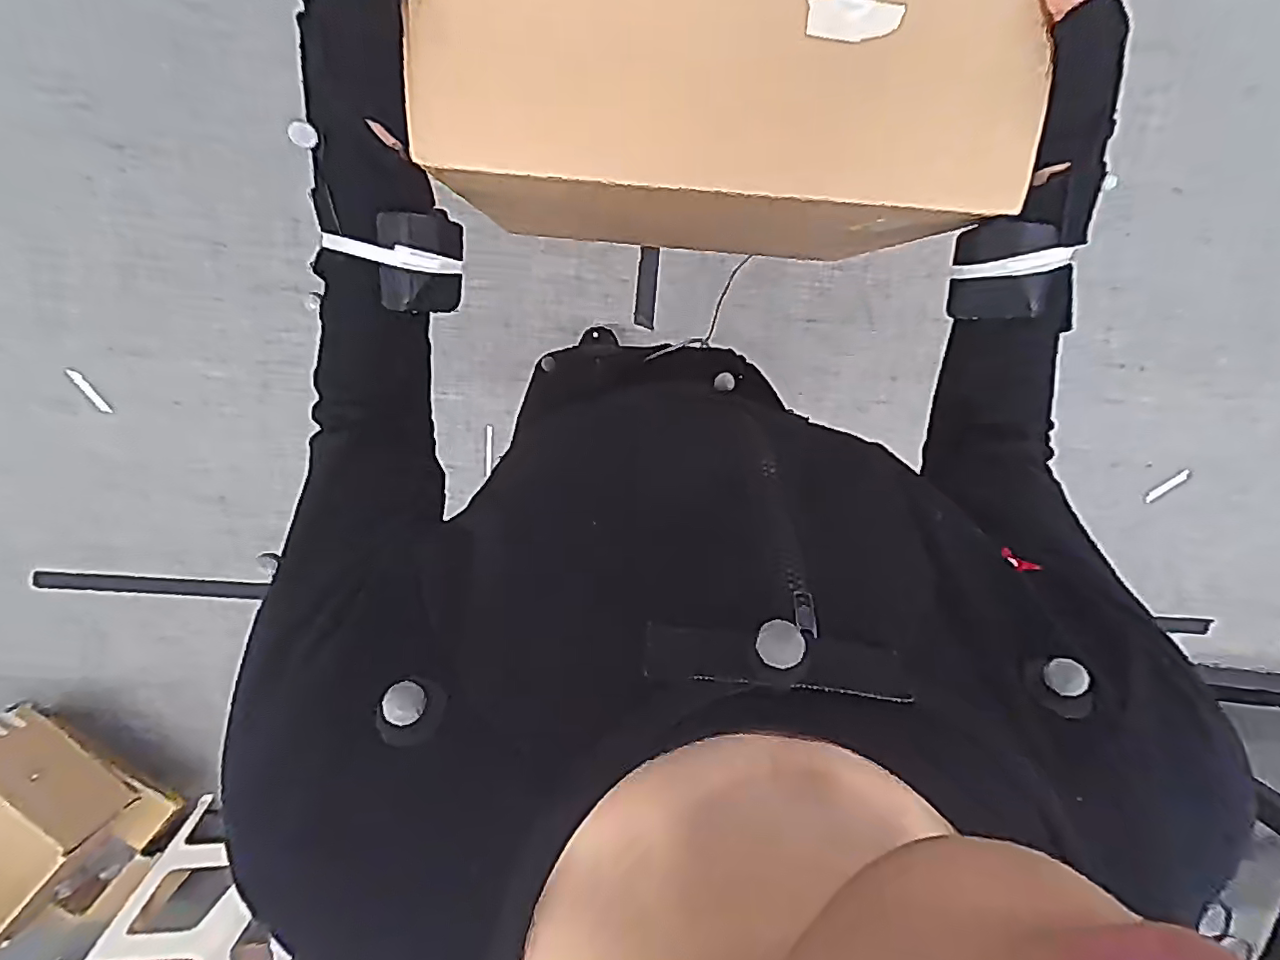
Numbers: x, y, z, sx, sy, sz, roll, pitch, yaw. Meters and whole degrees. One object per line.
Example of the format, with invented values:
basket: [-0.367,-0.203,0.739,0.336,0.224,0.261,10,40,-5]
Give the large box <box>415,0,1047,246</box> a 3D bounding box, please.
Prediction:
large box: [0.054,-0.393,0.462,0.408,0.320,0.320,3,108,-4]
